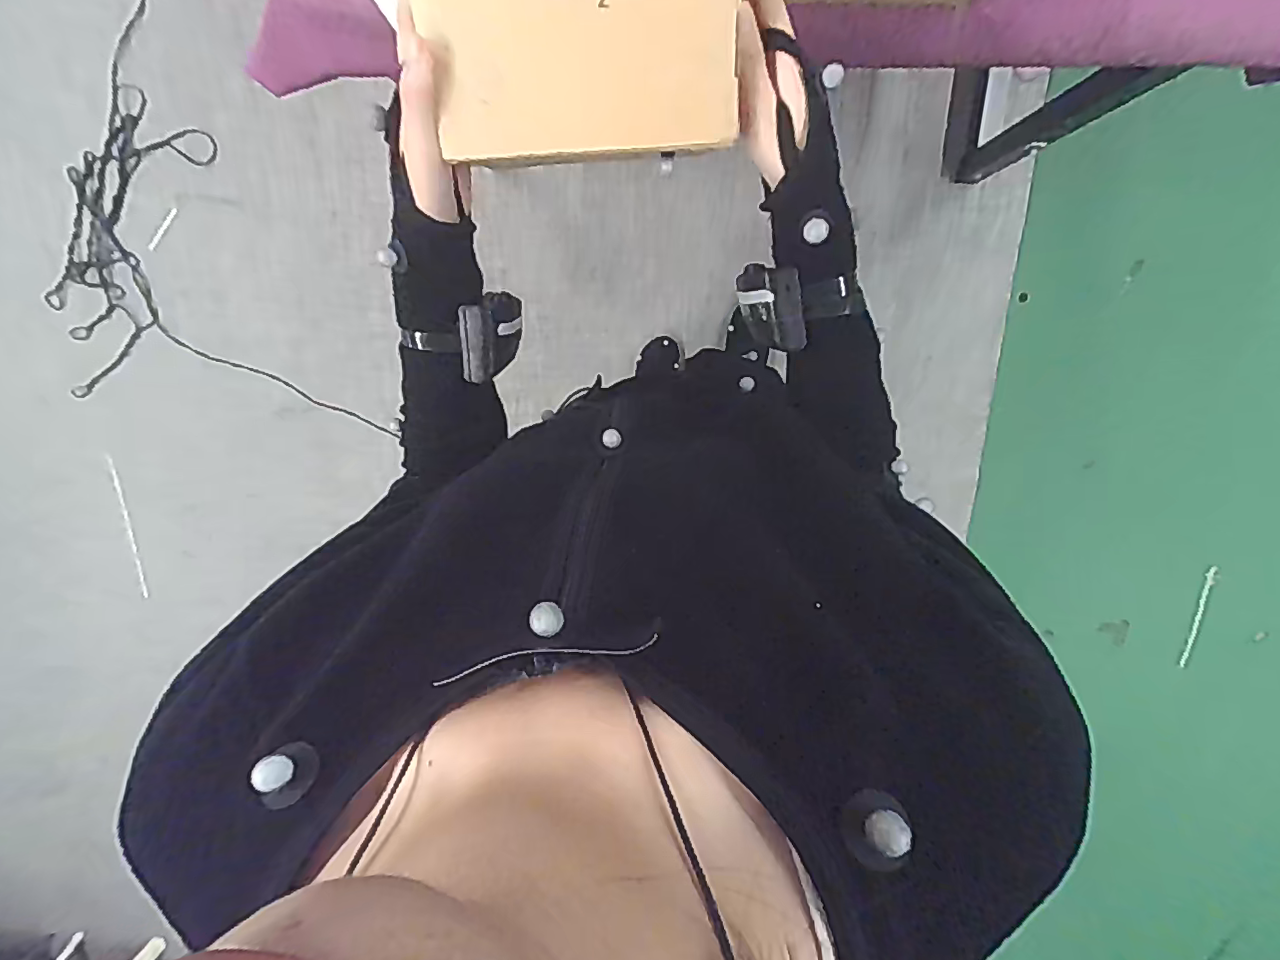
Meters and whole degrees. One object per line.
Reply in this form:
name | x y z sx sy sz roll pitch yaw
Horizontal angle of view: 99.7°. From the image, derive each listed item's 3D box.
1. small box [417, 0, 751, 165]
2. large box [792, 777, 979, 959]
small box | -0.034 -0.301 0.343 0.179 0.176 0.168 -5 119 -3
large box | 0.711 1.157 1.617 0.408 0.320 0.320 -12 104 5
